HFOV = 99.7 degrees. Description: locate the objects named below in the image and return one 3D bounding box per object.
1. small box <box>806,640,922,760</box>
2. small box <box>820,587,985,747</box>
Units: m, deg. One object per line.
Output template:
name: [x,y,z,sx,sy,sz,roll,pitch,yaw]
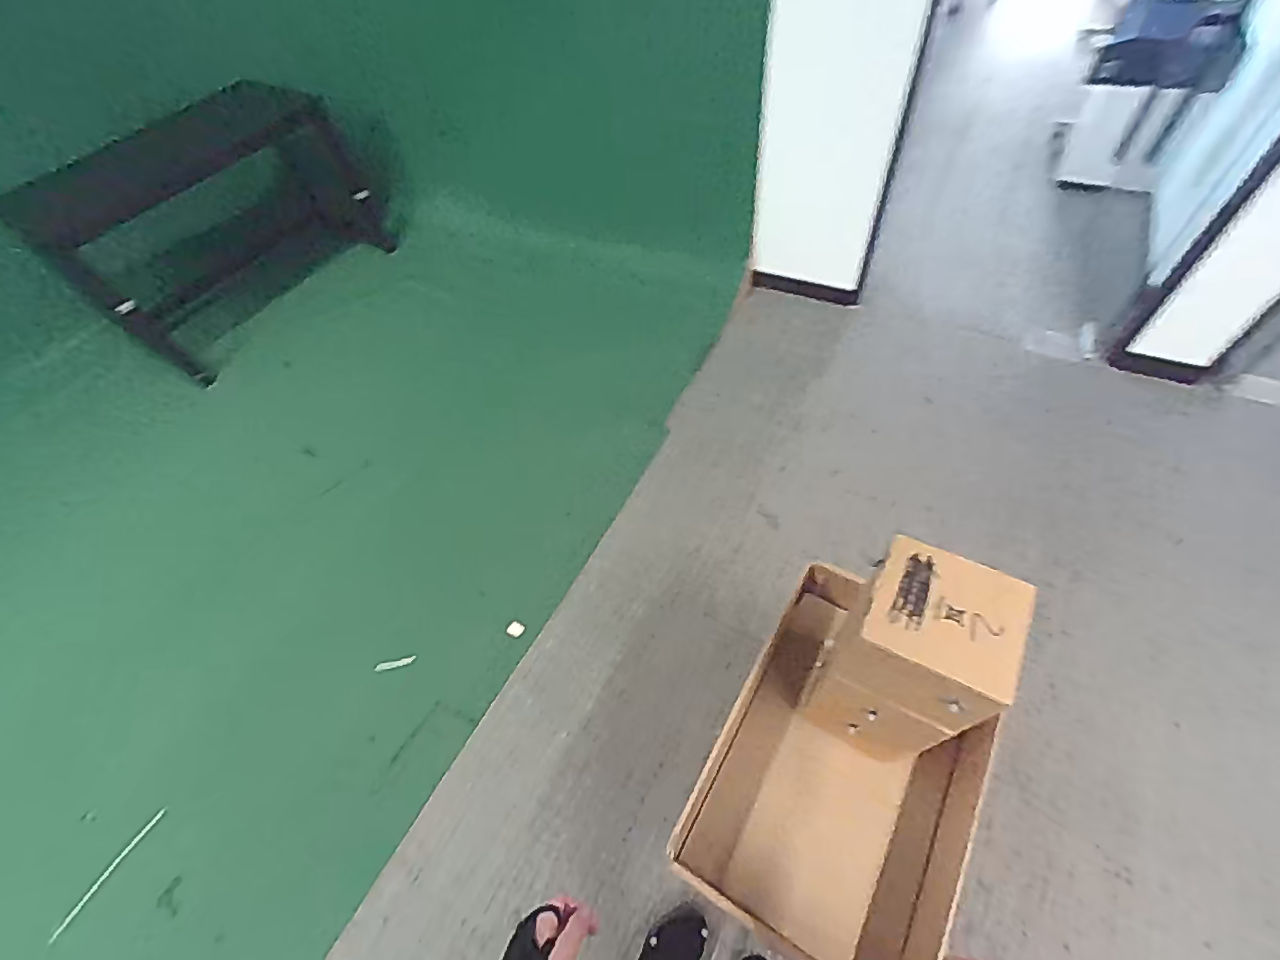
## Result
small box: [0.431,0.396,1.006,0.179,0.176,0.168,25,62,22]
small box: [0.411,0.306,0.870,0.179,0.176,0.168,23,61,22]
